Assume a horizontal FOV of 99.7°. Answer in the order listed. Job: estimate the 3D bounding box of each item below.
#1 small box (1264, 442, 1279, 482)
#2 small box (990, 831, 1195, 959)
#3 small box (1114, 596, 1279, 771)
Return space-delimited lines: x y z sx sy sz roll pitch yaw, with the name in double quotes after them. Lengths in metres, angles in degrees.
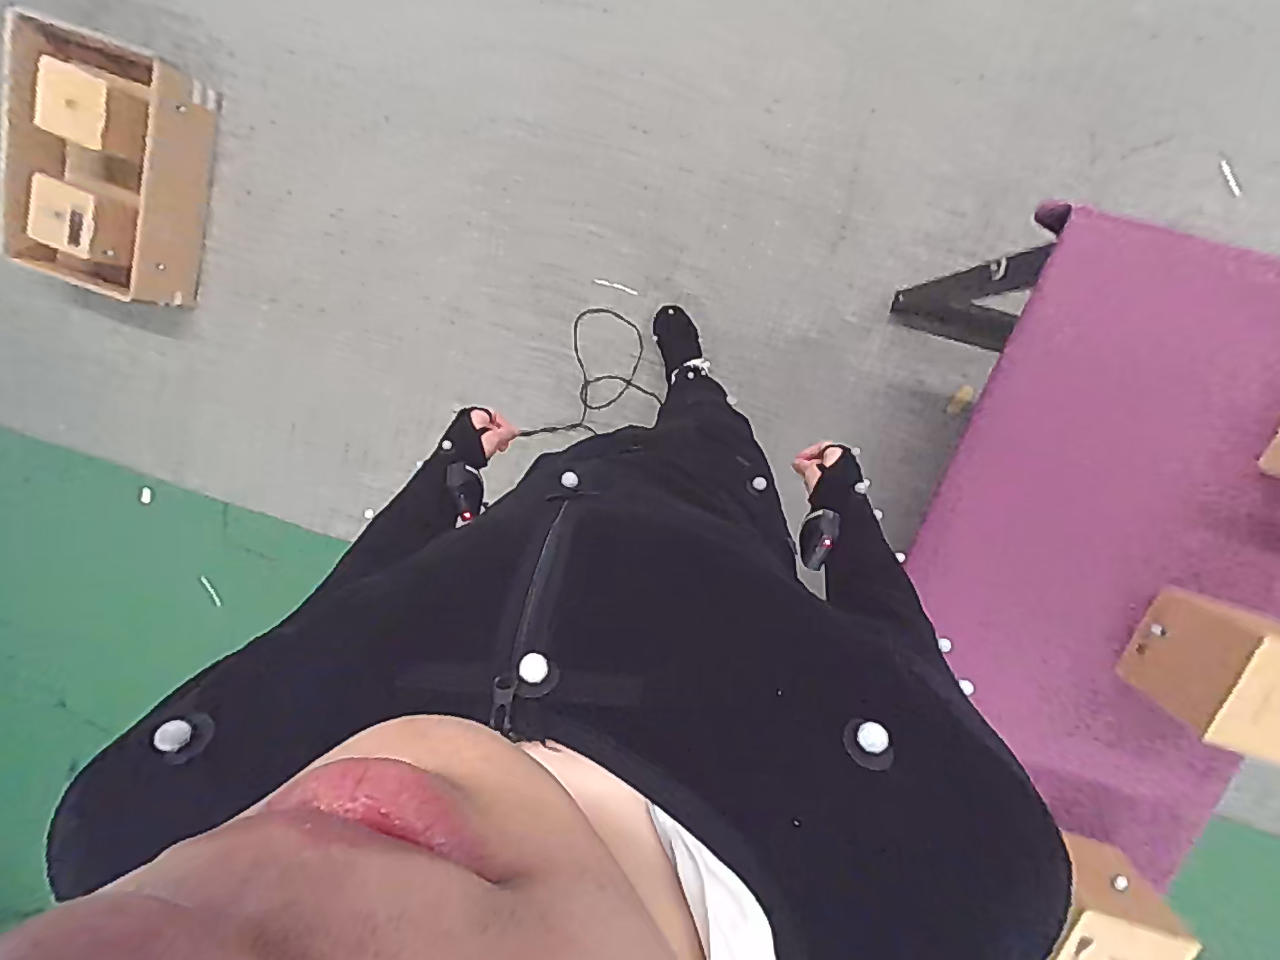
1.009 -0.038 0.702 0.179 0.176 0.168 20 104 2 "small box"
0.726 0.729 0.897 0.179 0.176 0.168 16 102 1 "small box"
0.871 0.292 0.791 0.179 0.176 0.168 18 103 2 "small box"
